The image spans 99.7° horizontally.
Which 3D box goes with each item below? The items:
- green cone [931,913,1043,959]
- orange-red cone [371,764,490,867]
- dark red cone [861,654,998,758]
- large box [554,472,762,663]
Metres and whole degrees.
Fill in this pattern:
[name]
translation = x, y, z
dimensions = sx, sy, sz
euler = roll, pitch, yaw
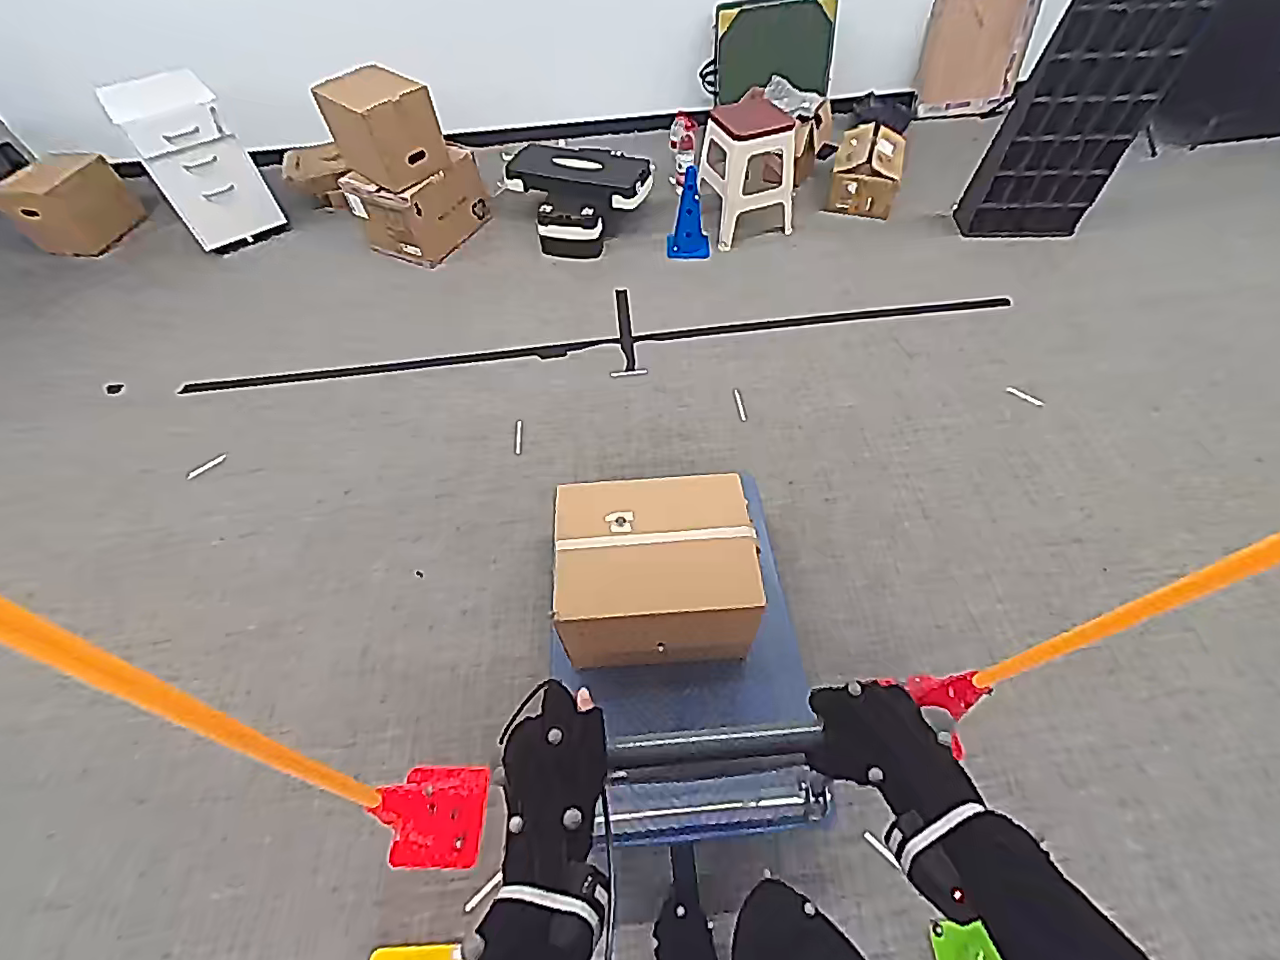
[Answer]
[green cone]
translation = 0.684, 0.867, 0.905
dimensions = 0.202, 0.368, 0.200
euler = -2, 54, 0
[orange-red cone]
translation = -0.460, 0.664, 1.107
dimensions = 0.198, 0.360, 0.199
euler = 1, 53, 2
[dark red cone]
translation = 0.655, 0.464, 1.173
dimensions = 0.201, 0.394, 0.202
euler = -5, 55, -3
[large box]
translation = 0.032, 0.208, 1.229
dimensions = 0.408, 0.320, 0.320
euler = -5, 55, 0
